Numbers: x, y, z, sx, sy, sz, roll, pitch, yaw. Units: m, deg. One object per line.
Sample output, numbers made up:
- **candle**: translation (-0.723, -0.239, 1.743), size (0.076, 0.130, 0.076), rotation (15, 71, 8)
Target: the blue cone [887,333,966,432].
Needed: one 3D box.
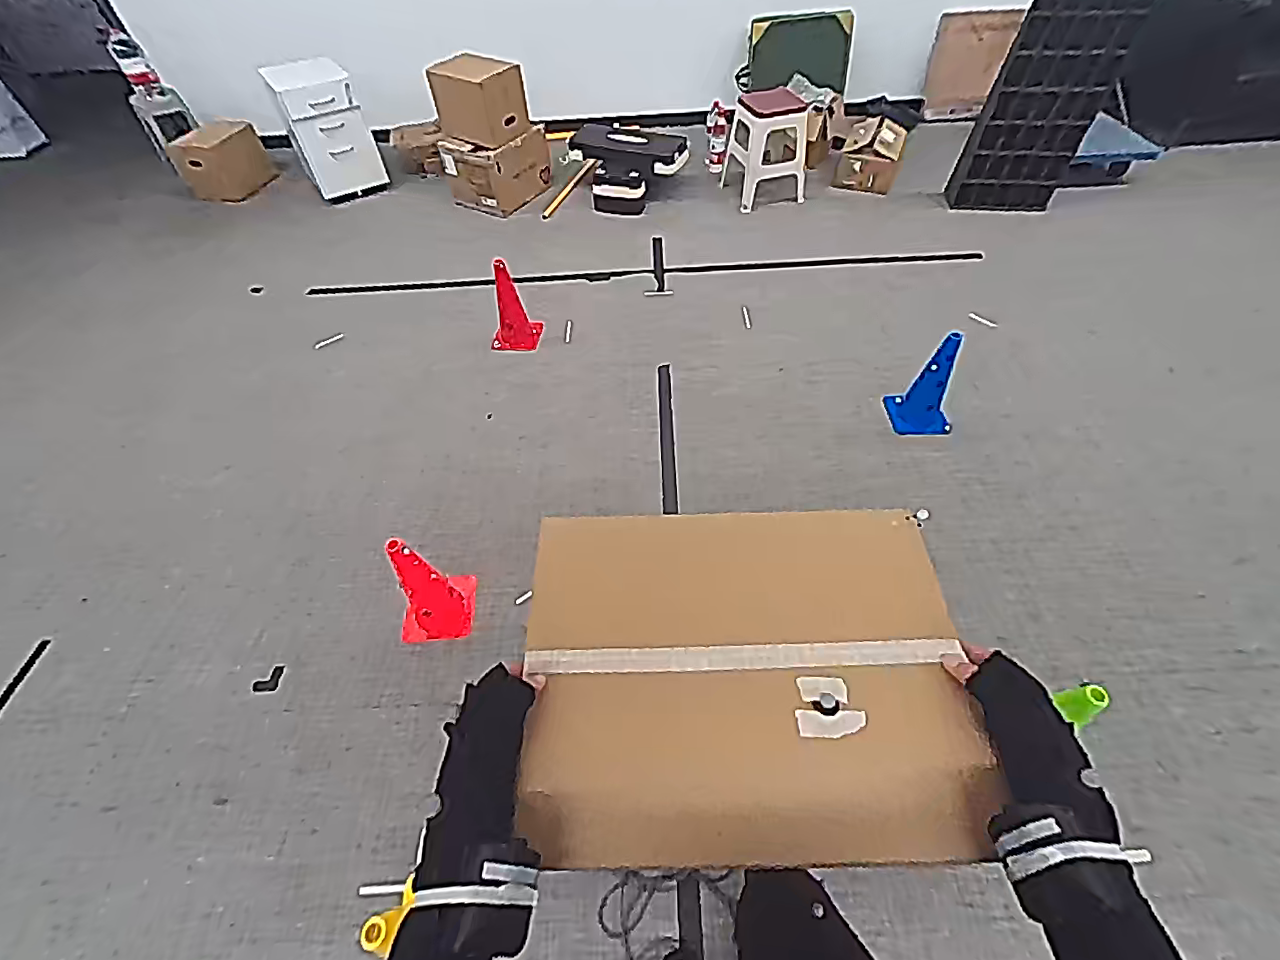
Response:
- **blue cone**: translation (1.027, -0.348, 1.885), size (0.192, 0.380, 0.193), rotation (1, 52, 2)

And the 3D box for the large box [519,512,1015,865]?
- **large box**: translation (0.098, 0.254, 0.632), size (0.408, 0.320, 0.320), rotation (-2, 55, 1)

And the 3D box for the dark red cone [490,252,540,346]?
- **dark red cone**: translation (-0.551, -0.754, 2.251), size (0.201, 0.394, 0.202), rotation (3, 52, 4)

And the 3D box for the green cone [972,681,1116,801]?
- **green cone**: translation (0.896, 0.523, 1.175), size (0.202, 0.368, 0.200), rotation (-32, 57, -23)

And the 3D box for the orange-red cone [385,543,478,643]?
- **orange-red cone**: translation (-0.595, 0.278, 1.461), size (0.198, 0.360, 0.199), rotation (-5, 53, 0)
